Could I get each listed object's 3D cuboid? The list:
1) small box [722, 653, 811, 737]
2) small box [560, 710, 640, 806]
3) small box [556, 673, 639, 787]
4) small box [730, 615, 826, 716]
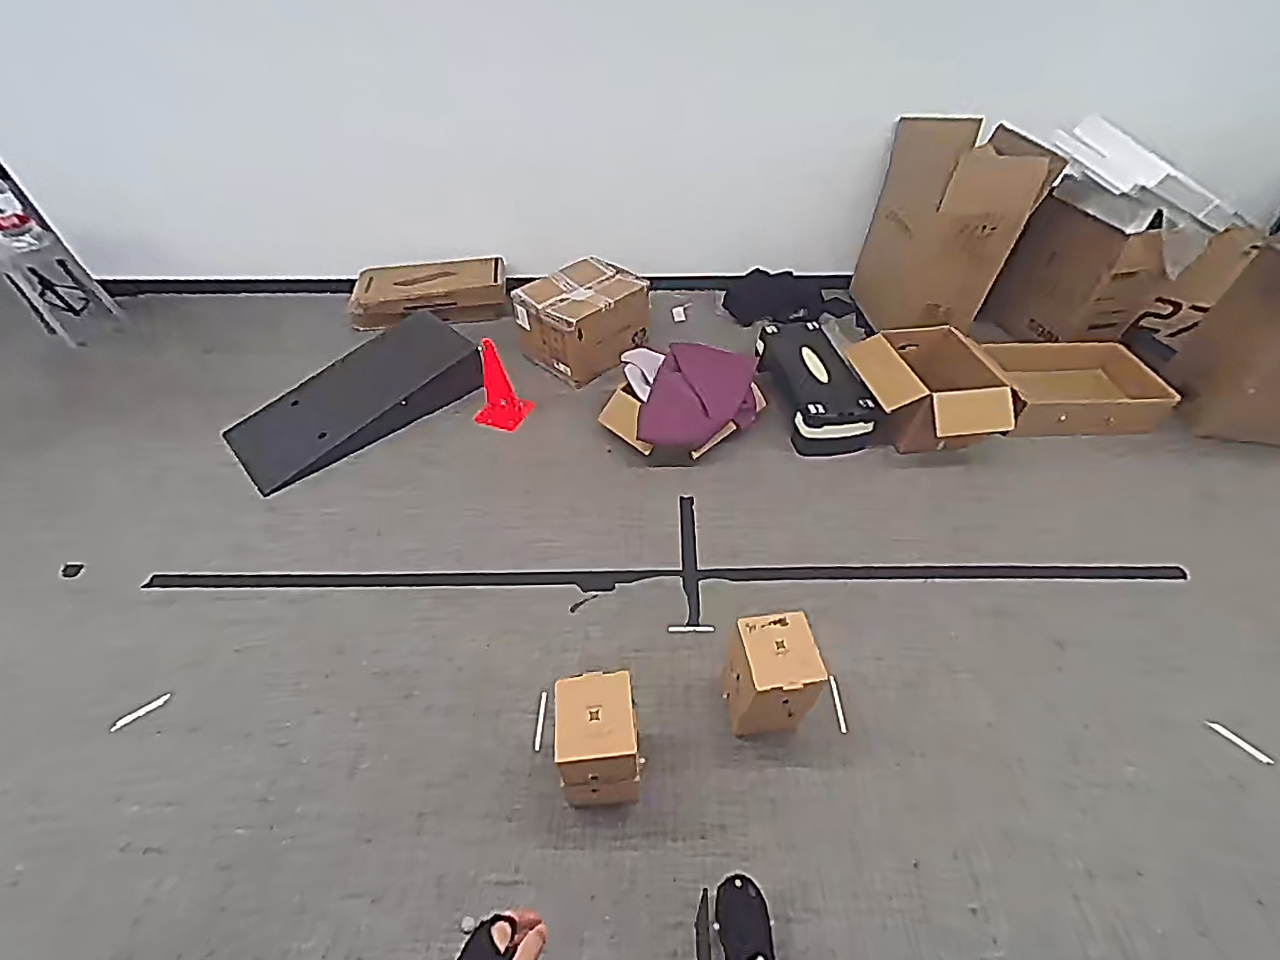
[{"bbox_3d":[0.321,0.552,1.409,0.179,0.176,0.168,-5,46,-4],"label":"small box"},{"bbox_3d":[-0.091,0.670,1.299,0.179,0.176,0.168,-2,47,-2],"label":"small box"},{"bbox_3d":[-0.093,0.550,1.189,0.168,0.176,0.179,-6,48,-3],"label":"small box"},{"bbox_3d":[0.318,0.446,1.284,0.168,0.176,0.179,-5,47,-5],"label":"small box"}]
